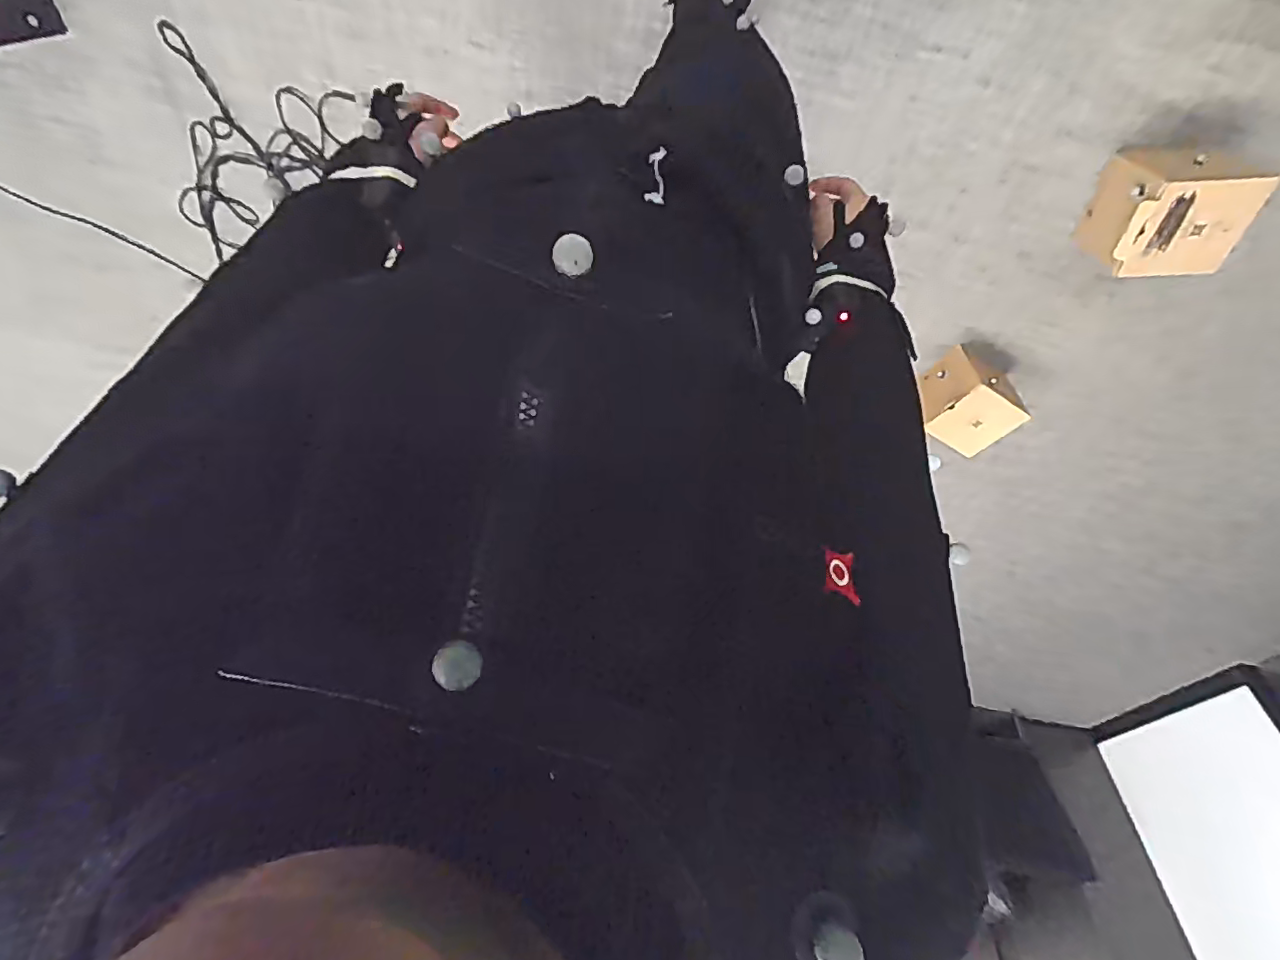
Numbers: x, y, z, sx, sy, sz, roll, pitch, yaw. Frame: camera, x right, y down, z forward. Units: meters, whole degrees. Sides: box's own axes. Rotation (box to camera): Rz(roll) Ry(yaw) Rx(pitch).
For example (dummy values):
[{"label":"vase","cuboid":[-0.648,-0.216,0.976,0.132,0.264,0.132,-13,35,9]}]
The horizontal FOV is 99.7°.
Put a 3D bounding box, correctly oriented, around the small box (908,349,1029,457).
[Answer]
[{"label":"small box","cuboid":[0.803,-0.193,1.338,0.179,0.176,0.168,25,134,-18]}]
